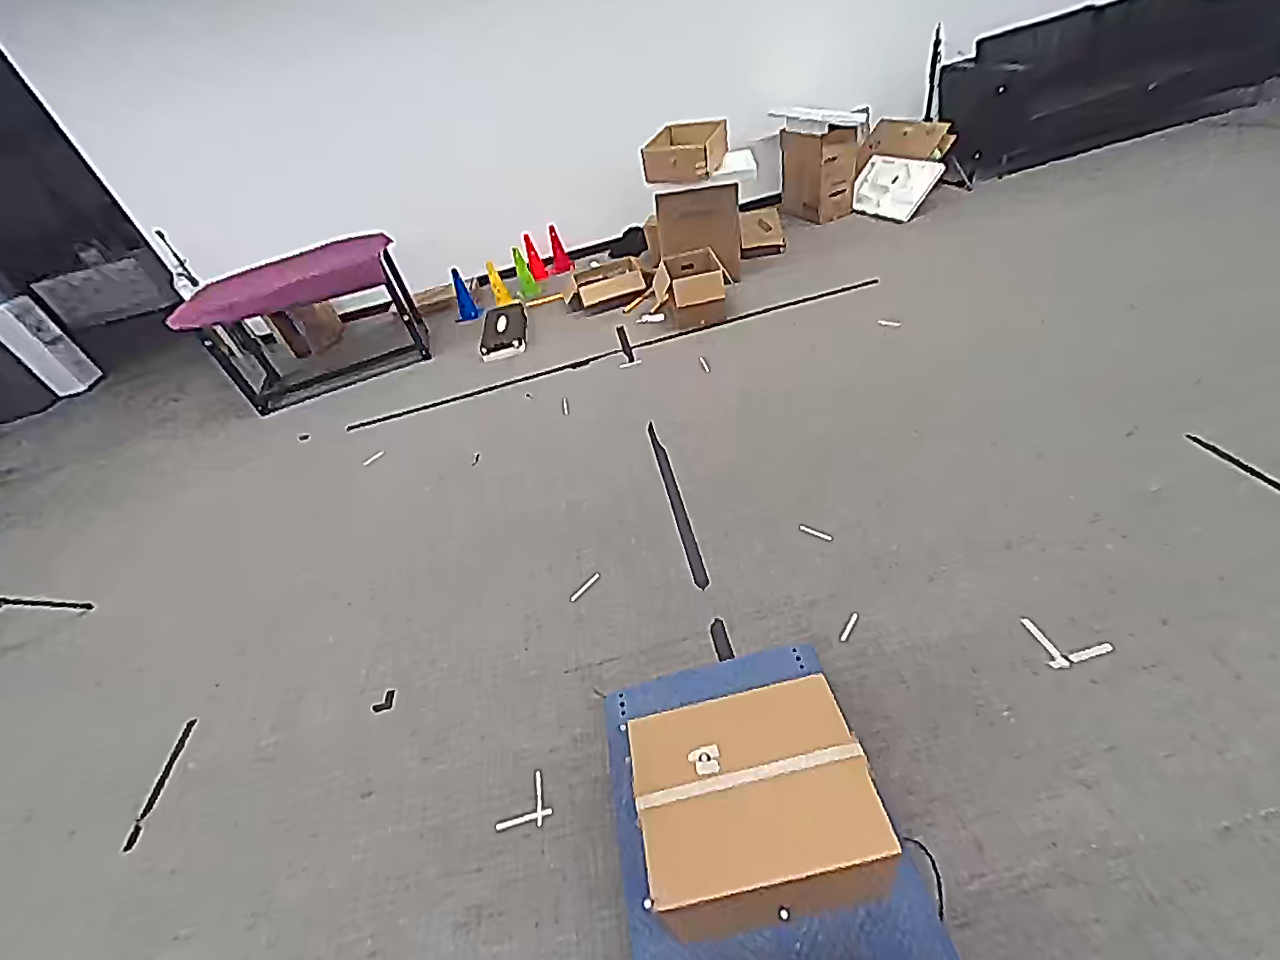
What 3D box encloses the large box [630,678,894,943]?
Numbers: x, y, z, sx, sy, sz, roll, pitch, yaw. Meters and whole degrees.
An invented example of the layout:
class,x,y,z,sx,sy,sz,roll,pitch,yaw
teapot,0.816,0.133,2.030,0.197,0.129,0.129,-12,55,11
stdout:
class,x,y,z,sx,sy,sz,roll,pitch,yaw
large box,0.227,0.654,1.073,0.408,0.320,0.320,-16,39,1
